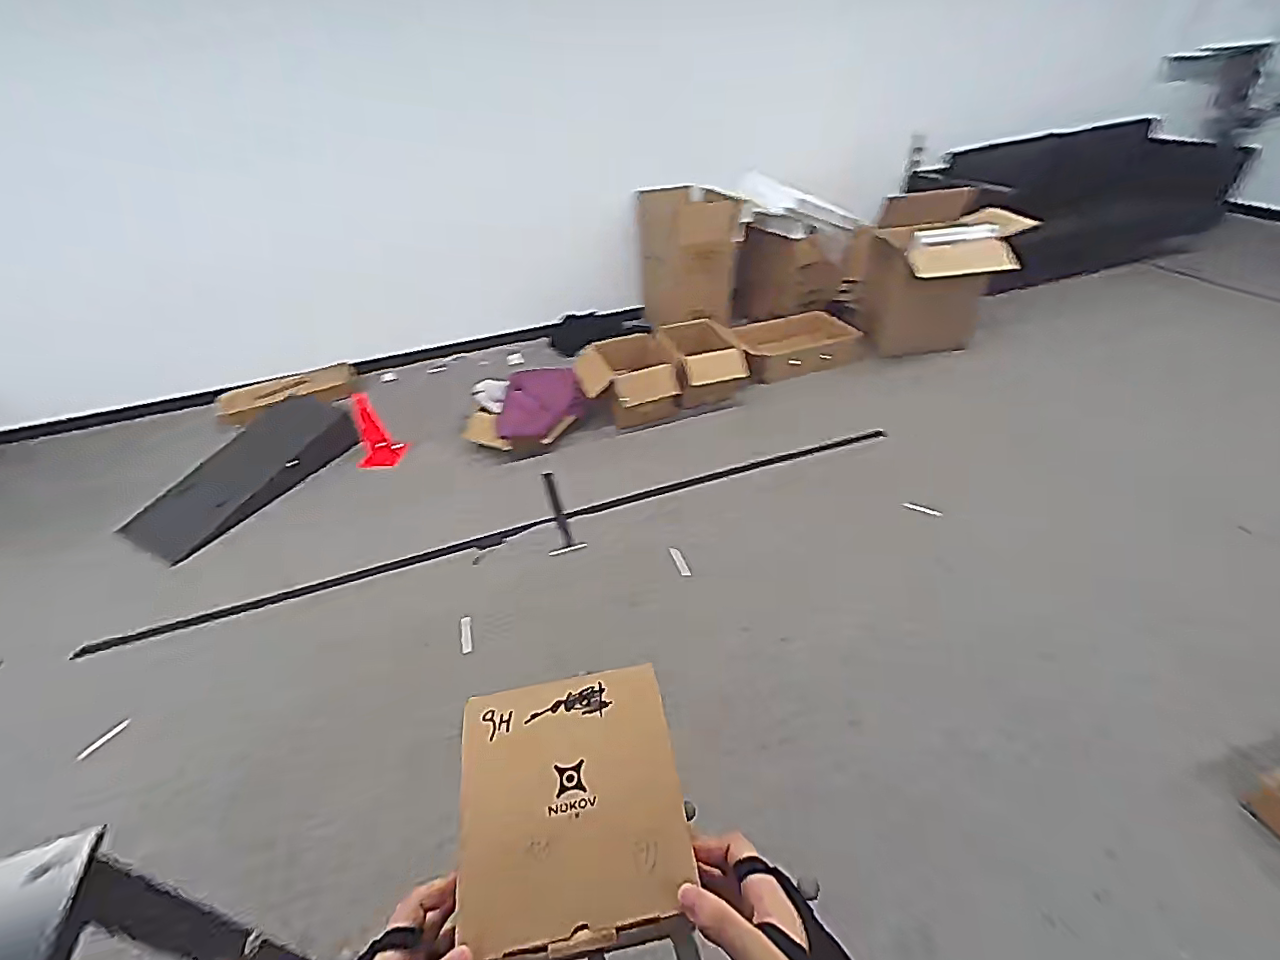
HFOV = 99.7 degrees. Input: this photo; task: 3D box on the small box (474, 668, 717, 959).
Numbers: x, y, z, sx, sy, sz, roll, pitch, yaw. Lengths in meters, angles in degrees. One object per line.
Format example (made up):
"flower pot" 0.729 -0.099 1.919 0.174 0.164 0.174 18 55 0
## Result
"small box" -0.036 0.290 0.465 0.168 0.176 0.179 -9 48 -5
